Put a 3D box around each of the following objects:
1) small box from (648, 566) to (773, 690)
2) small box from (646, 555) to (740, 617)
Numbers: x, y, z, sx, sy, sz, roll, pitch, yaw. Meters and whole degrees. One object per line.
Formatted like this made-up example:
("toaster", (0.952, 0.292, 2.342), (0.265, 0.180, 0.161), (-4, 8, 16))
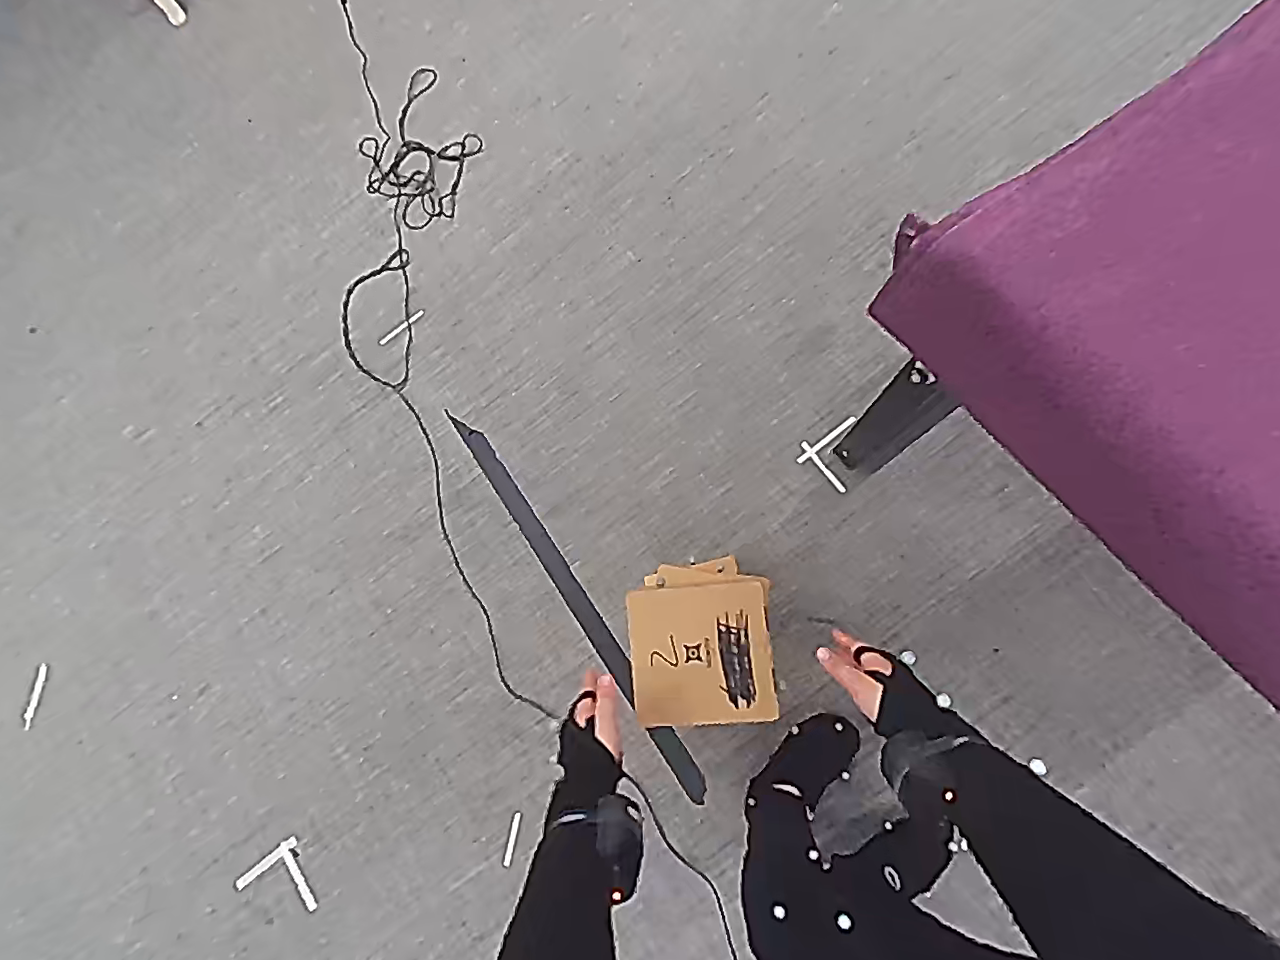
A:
("small box", (0.118, 0.236, 0.903), (0.179, 0.176, 0.168), (6, 81, 10))
("small box", (0.124, 0.252, 1.069), (0.179, 0.176, 0.168), (-15, 79, 6))
